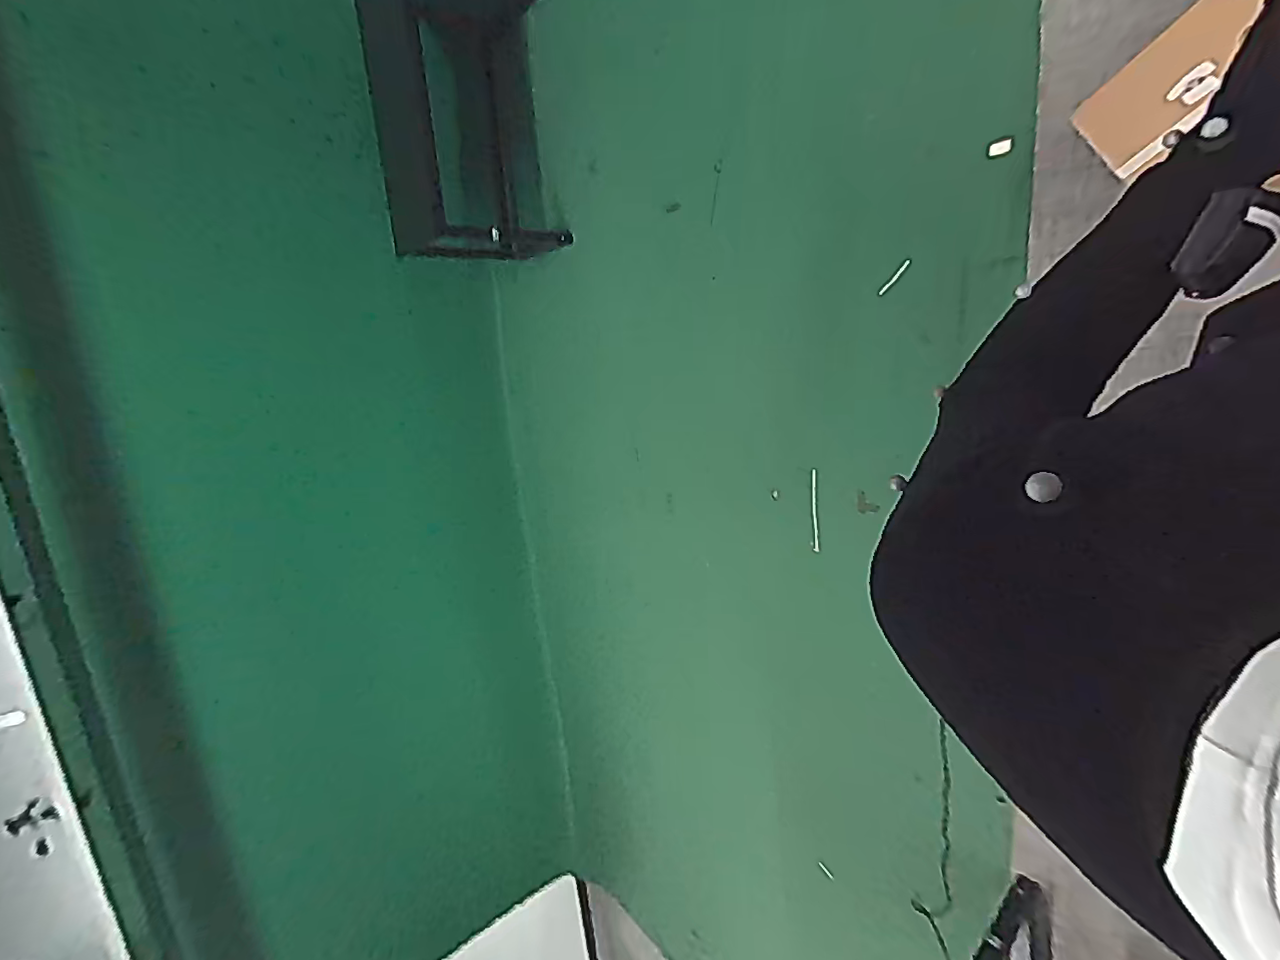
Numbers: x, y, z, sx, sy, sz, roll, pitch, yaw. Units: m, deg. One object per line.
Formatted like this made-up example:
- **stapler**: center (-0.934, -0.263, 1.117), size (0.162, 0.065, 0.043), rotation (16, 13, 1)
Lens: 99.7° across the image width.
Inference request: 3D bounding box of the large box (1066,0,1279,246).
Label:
- **large box**: center (1.078, -0.673, 0.928), size (0.408, 0.320, 0.320), rotation (-45, 66, 50)
